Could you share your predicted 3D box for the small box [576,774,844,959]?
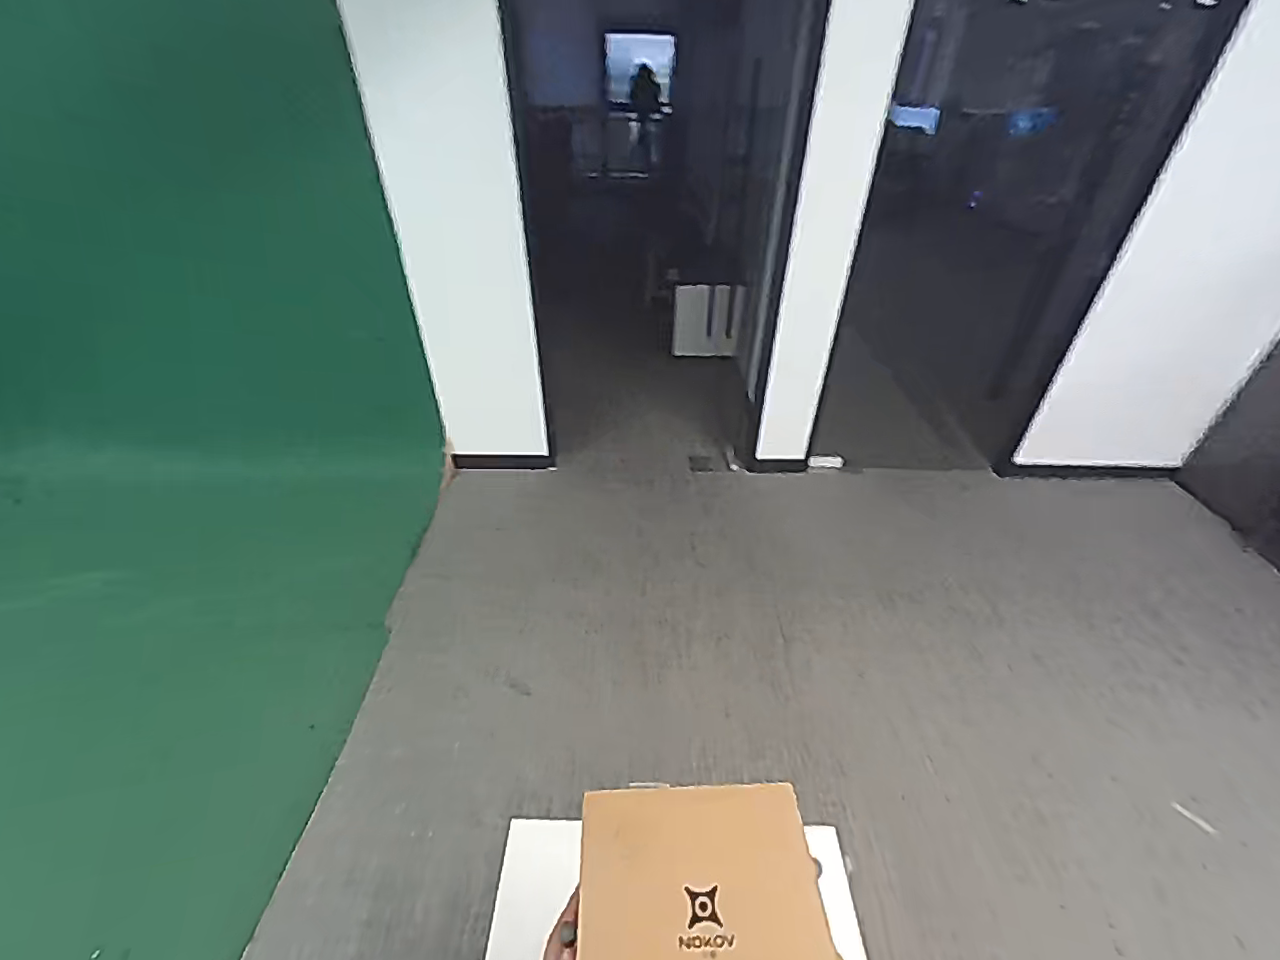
[{"bbox_3d":[0.040,0.343,0.390,0.168,0.176,0.179,-1,34,-2],"label":"small box"}]
